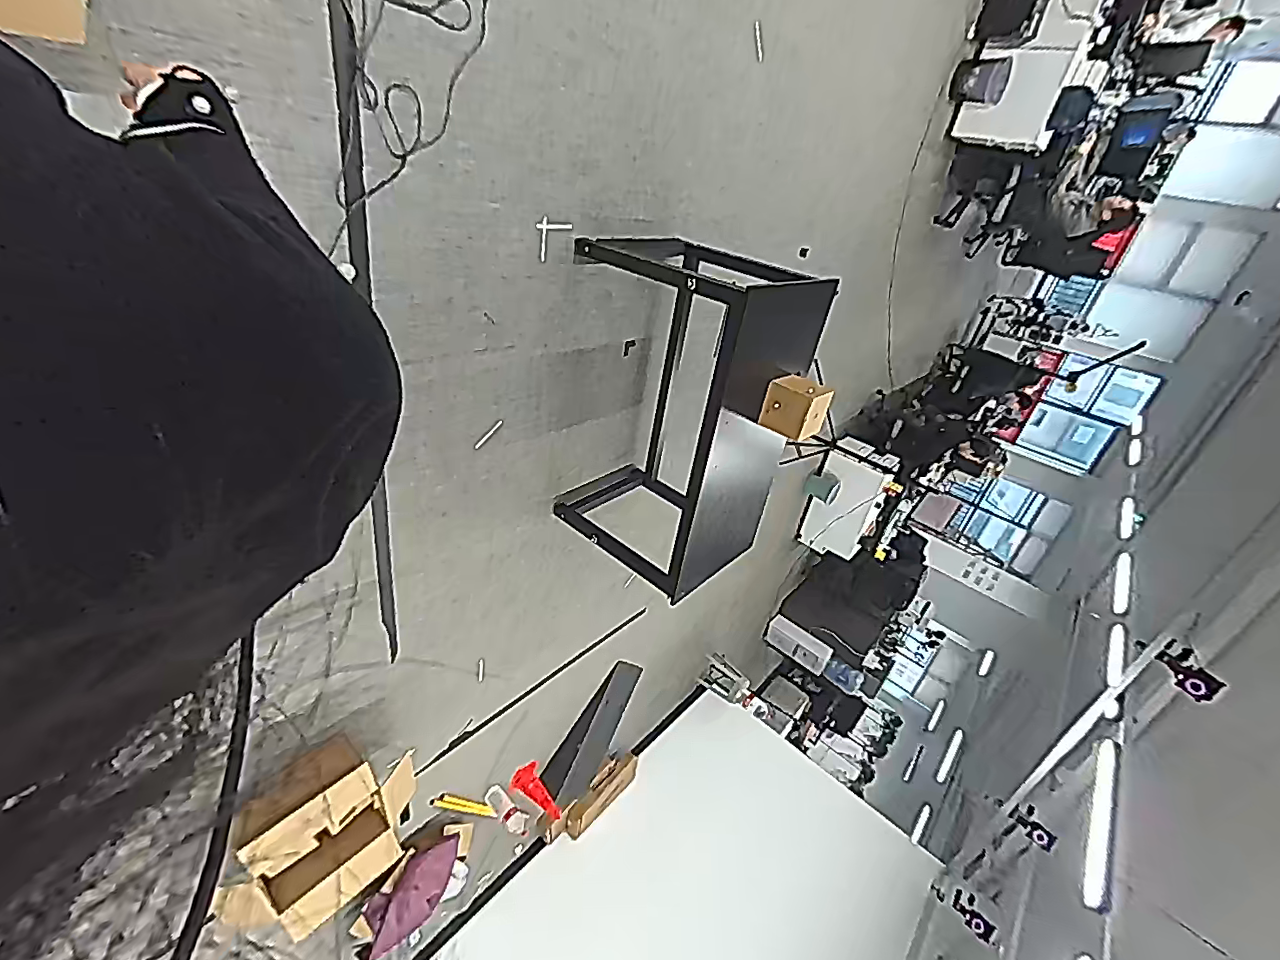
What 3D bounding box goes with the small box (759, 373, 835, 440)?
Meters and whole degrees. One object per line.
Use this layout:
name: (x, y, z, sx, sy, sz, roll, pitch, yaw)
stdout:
small box: (0.550, -0.266, 1.905, 0.179, 0.176, 0.168, -23, 133, -44)
